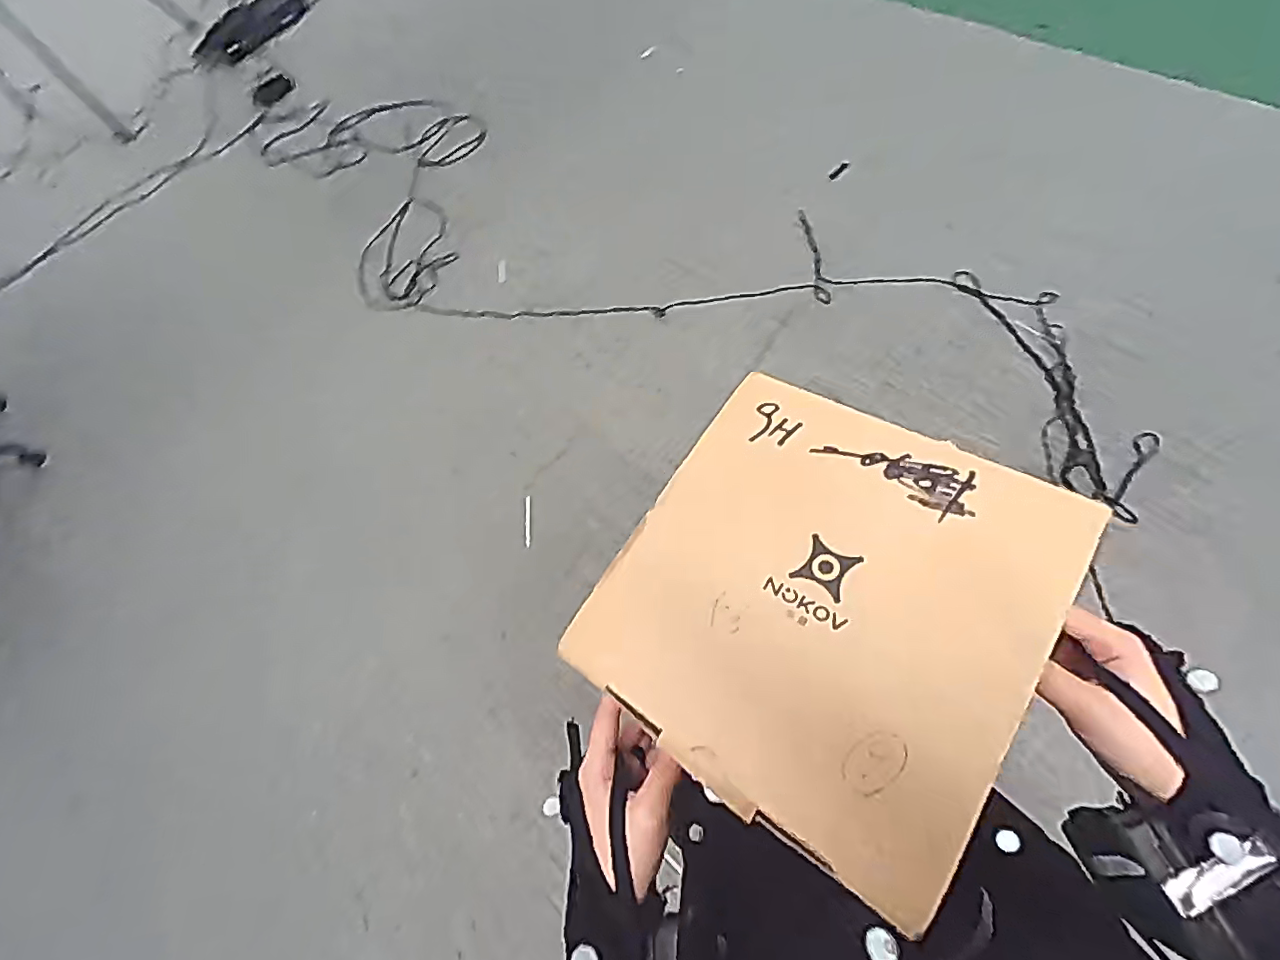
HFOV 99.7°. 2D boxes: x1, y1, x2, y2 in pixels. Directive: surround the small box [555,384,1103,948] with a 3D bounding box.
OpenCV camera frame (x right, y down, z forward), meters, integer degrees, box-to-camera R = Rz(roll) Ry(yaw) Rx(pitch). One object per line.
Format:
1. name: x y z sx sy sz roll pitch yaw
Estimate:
1. small box: 0.092 0.086 0.297 0.168 0.176 0.179 30 74 28
